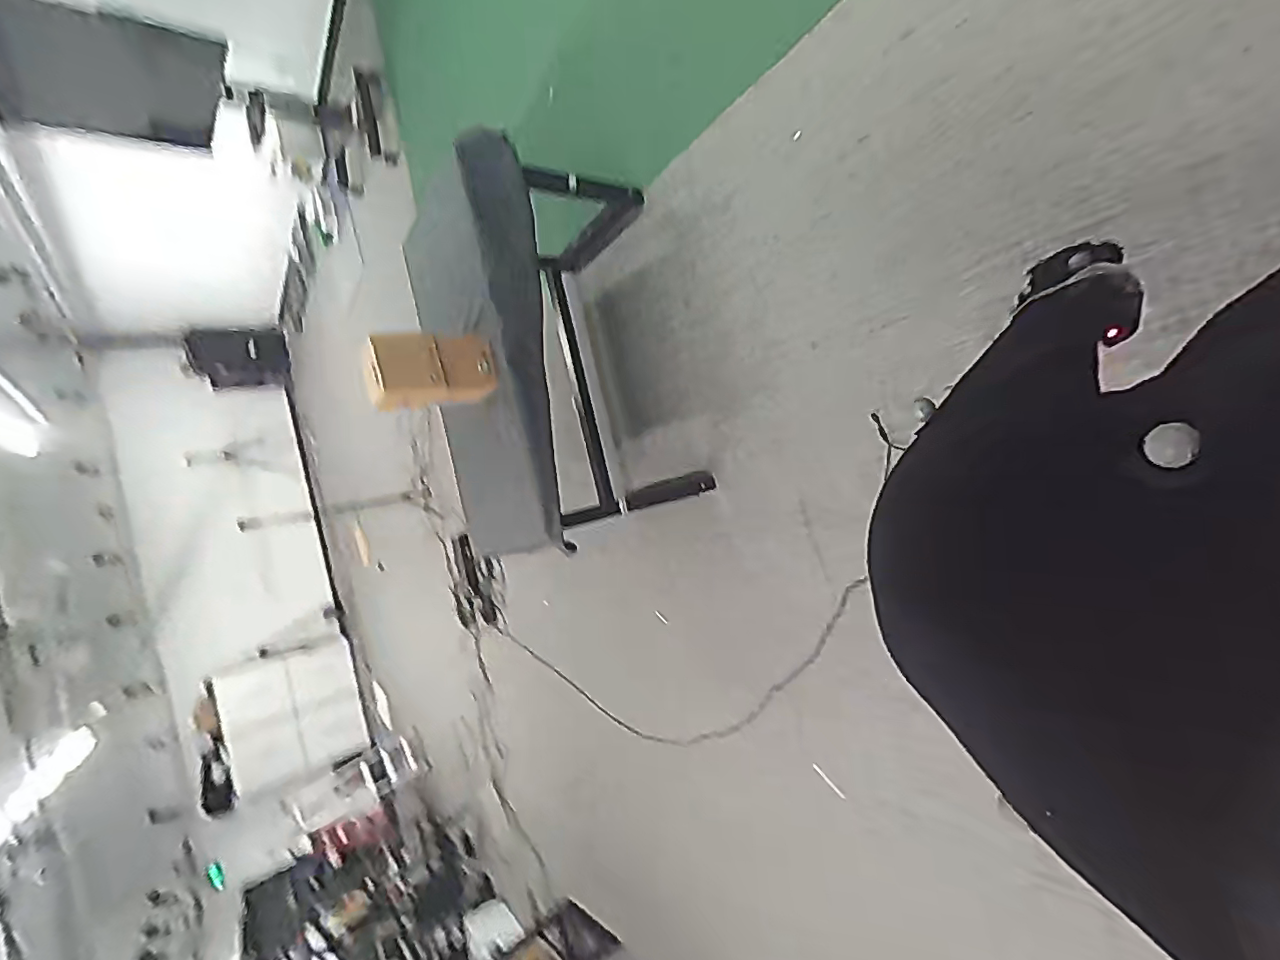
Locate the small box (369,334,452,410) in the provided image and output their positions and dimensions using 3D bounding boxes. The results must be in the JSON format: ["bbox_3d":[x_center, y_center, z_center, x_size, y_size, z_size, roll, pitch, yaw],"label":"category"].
[{"bbox_3d":[-0.650,-0.310,1.542,0.179,0.176,0.168,-20,84,54],"label":"small box"}]

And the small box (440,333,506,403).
[{"bbox_3d":[-0.529,-0.338,1.650,0.179,0.176,0.168,-14,89,51],"label":"small box"}]
